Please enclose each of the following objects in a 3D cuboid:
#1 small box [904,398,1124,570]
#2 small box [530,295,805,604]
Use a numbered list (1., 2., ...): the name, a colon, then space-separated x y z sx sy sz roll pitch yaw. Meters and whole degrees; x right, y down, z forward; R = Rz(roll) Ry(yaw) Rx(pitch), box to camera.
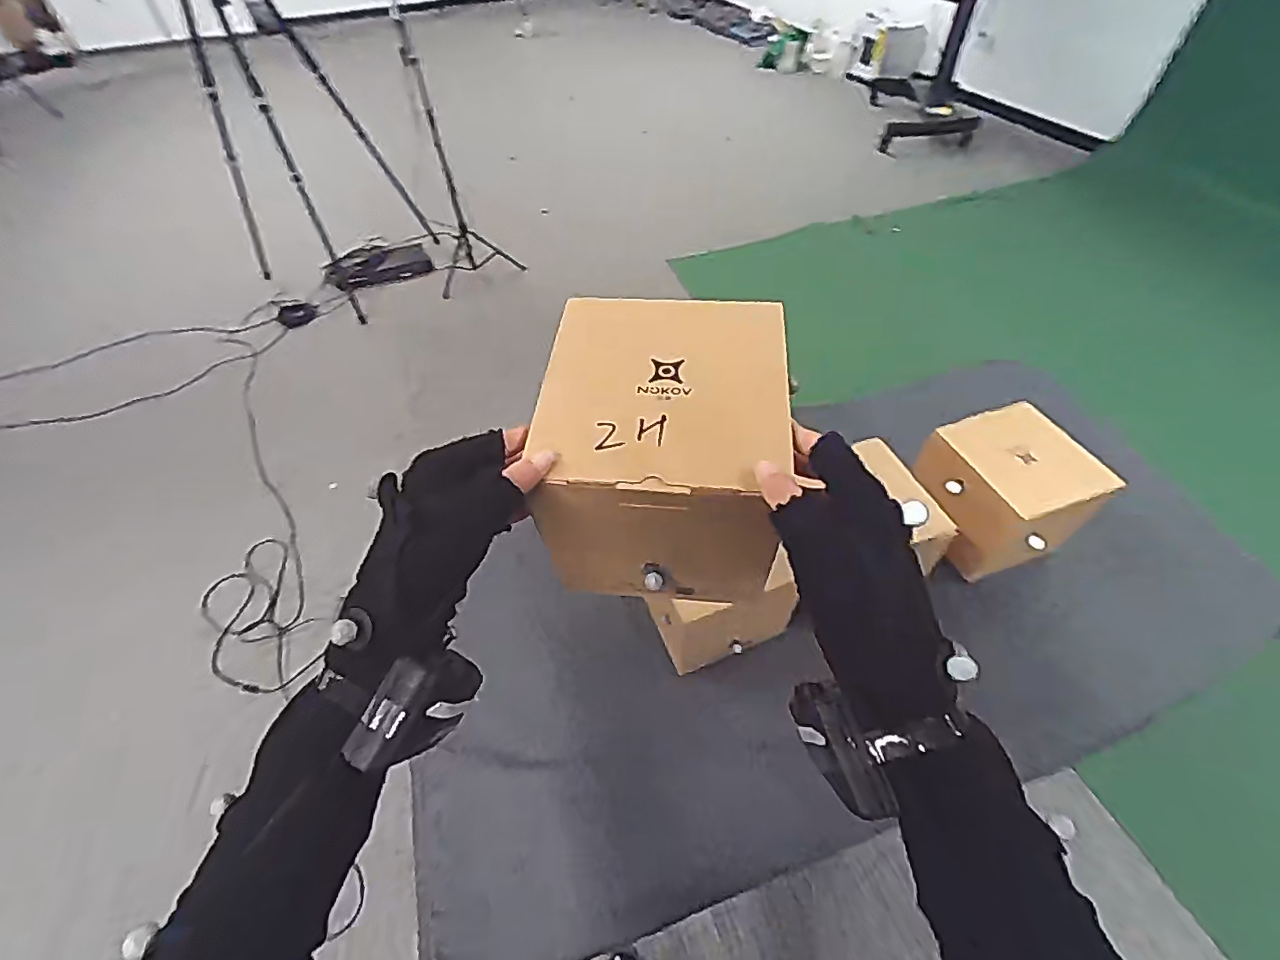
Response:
1. small box: 0.534 0.013 0.804 0.168 0.176 0.179 -17 51 -10
2. small box: 0.028 -0.021 0.427 0.168 0.176 0.179 3 56 7
